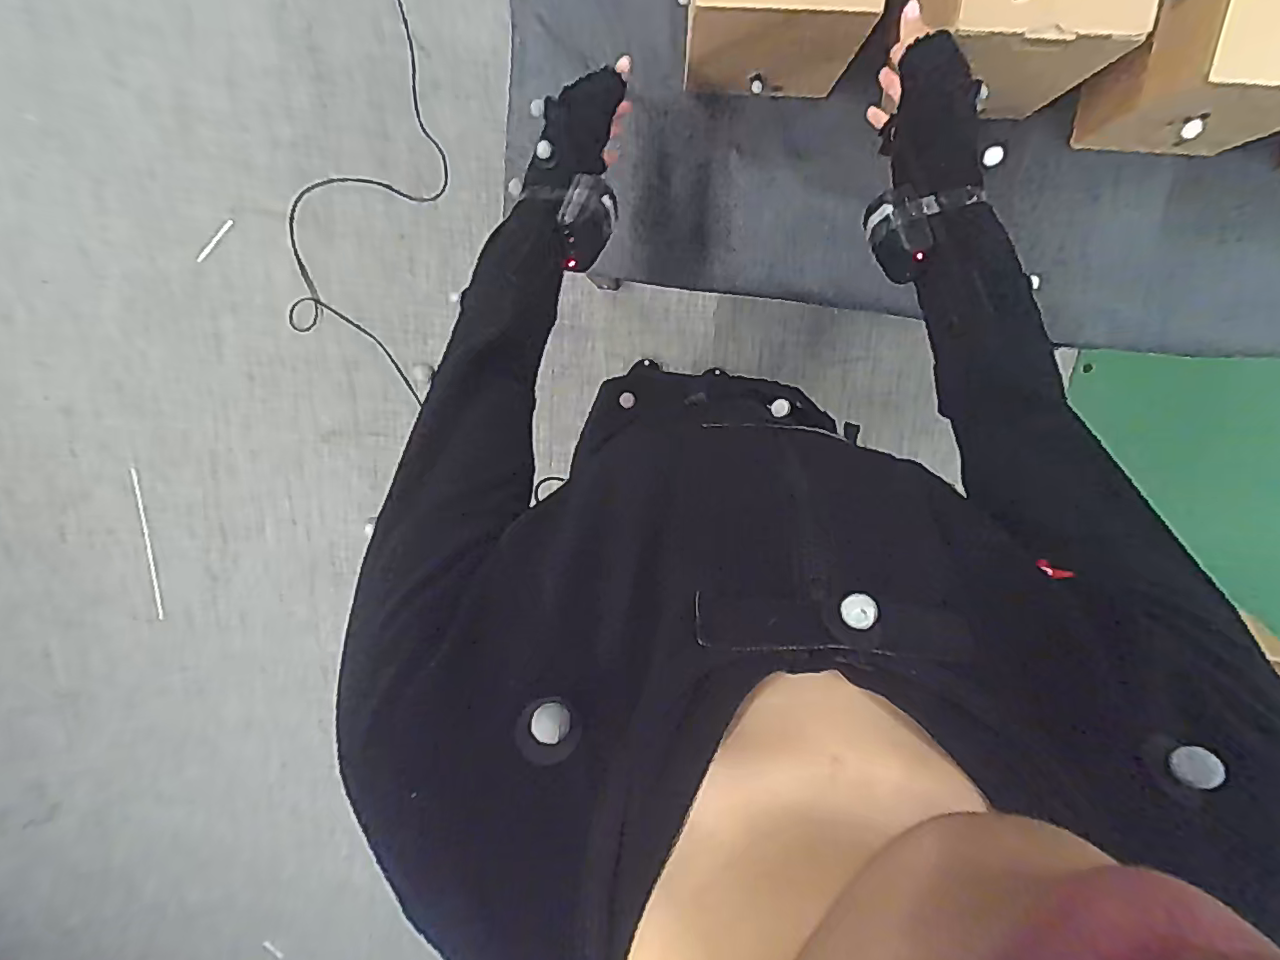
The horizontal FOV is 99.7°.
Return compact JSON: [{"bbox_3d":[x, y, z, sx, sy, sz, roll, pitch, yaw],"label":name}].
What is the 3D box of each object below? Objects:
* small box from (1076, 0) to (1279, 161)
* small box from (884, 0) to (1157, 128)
[{"bbox_3d":[0.578,-0.433,0.525,0.168,0.176,0.179,4,102,2],"label":"small box"},{"bbox_3d":[0.357,-0.475,0.522,0.168,0.176,0.179,3,103,2],"label":"small box"}]
